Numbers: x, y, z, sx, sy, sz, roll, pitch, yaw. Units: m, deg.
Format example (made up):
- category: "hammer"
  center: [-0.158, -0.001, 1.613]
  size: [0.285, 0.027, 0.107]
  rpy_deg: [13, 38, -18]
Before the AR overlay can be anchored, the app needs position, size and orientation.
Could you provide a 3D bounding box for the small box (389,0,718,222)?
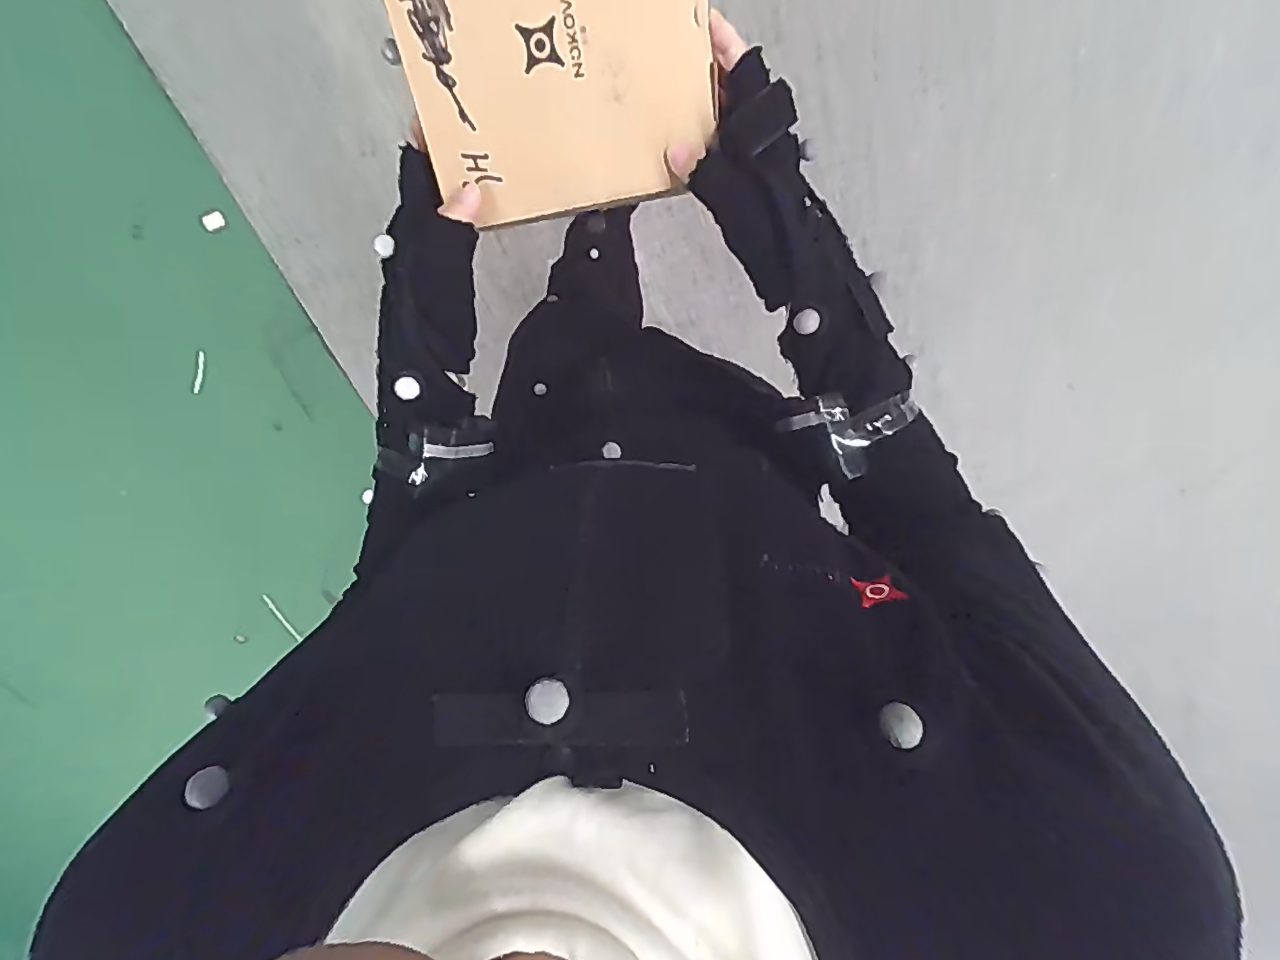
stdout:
- category: "small box"
  center: [-0.053, -0.286, 0.380]
  size: [0.179, 0.176, 0.168]
  rpy_deg: [-10, 115, 2]
